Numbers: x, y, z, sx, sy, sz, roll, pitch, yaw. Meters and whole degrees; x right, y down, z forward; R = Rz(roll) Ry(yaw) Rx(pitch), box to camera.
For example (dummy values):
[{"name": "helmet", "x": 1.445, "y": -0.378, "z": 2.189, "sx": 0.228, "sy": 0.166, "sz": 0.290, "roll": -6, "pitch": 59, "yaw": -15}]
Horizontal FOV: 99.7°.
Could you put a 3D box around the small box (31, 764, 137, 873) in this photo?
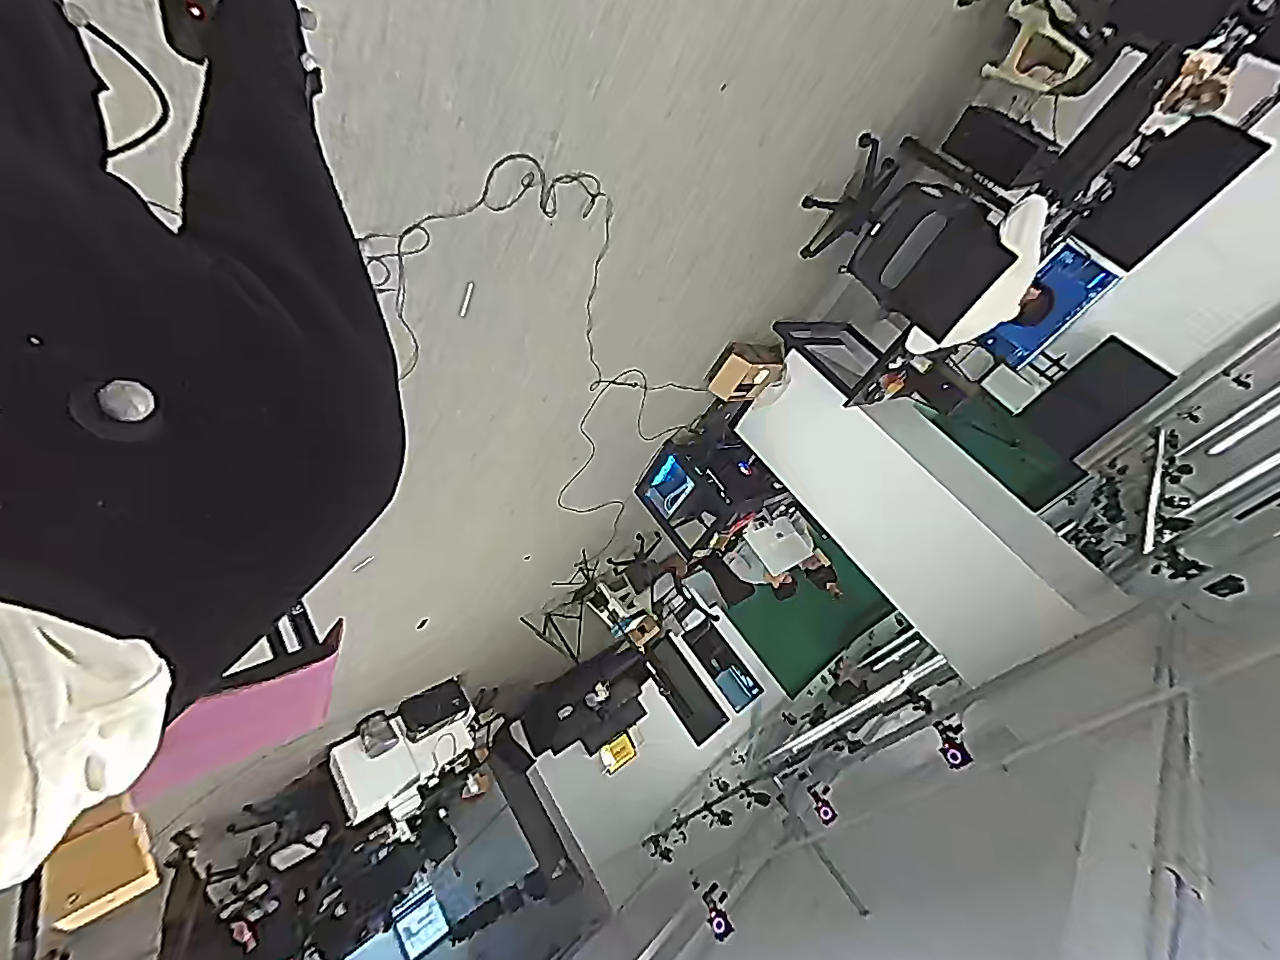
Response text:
[{"name": "small box", "x": -1.482, "y": 0.903, "z": 1.447, "sx": 0.179, "sy": 0.176, "sz": 0.168, "roll": -16, "pitch": 150, "yaw": -42}]

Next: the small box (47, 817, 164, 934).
[{"name": "small box", "x": -1.371, "y": 1.012, "z": 1.392, "sx": 0.179, "sy": 0.176, "sz": 0.168, "roll": -16, "pitch": 150, "yaw": -42}]
